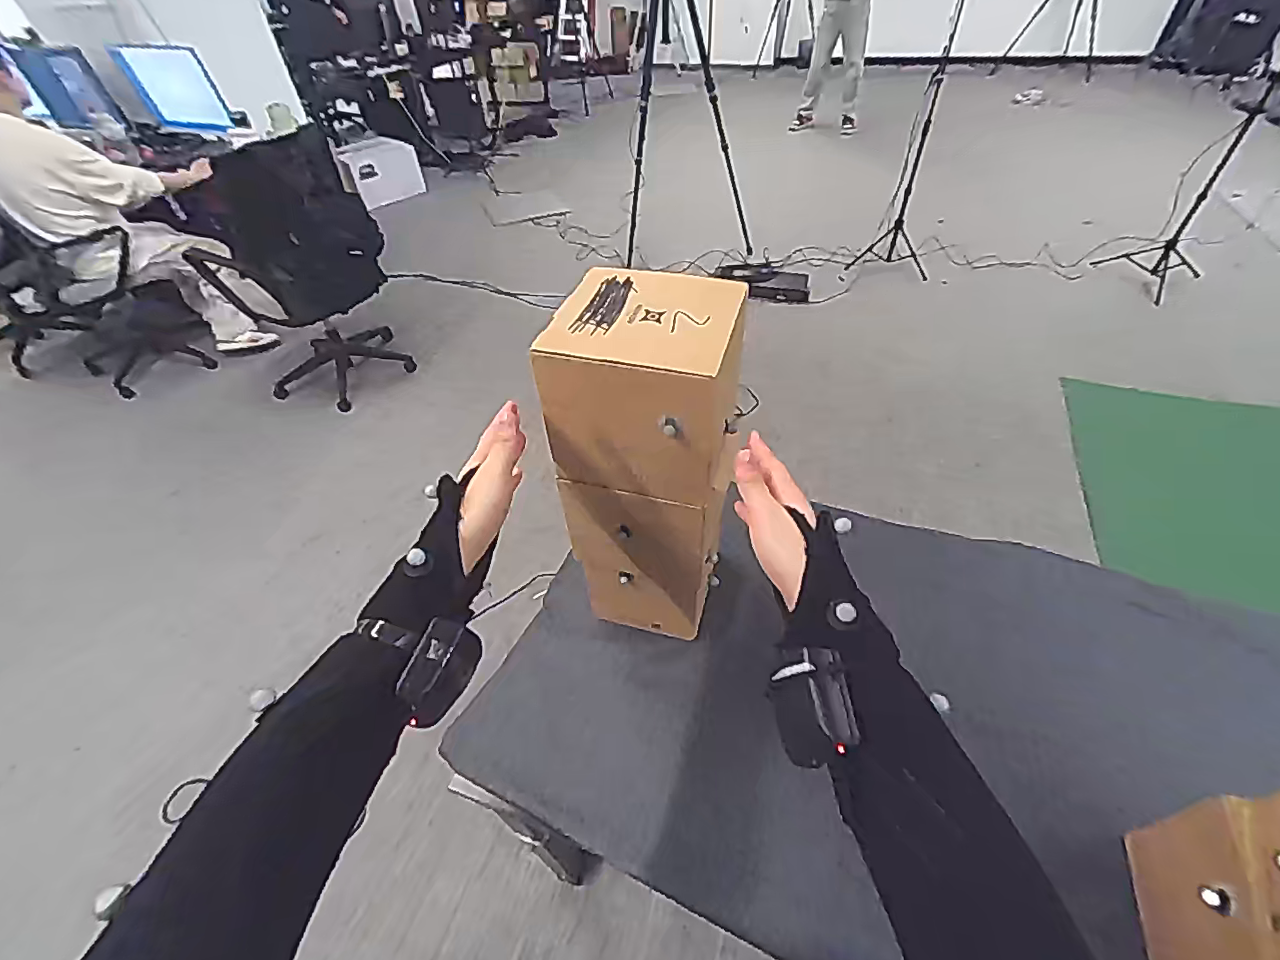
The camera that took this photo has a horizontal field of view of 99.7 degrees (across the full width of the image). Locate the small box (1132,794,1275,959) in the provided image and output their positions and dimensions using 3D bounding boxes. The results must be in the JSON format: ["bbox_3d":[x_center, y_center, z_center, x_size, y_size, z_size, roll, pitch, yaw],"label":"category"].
[{"bbox_3d":[0.593,0.424,0.483,0.168,0.176,0.179,13,48,17],"label":"small box"}]

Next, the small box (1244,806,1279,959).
[{"bbox_3d":[0.579,0.319,0.358,0.179,0.176,0.168,21,50,25],"label":"small box"}]

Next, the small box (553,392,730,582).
[{"bbox_3d":[0.012,0.011,0.700,0.179,0.176,0.168,10,49,15],"label":"small box"}]

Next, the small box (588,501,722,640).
[{"bbox_3d":[0.025,0.114,0.830,0.168,0.176,0.179,10,48,13],"label":"small box"}]
